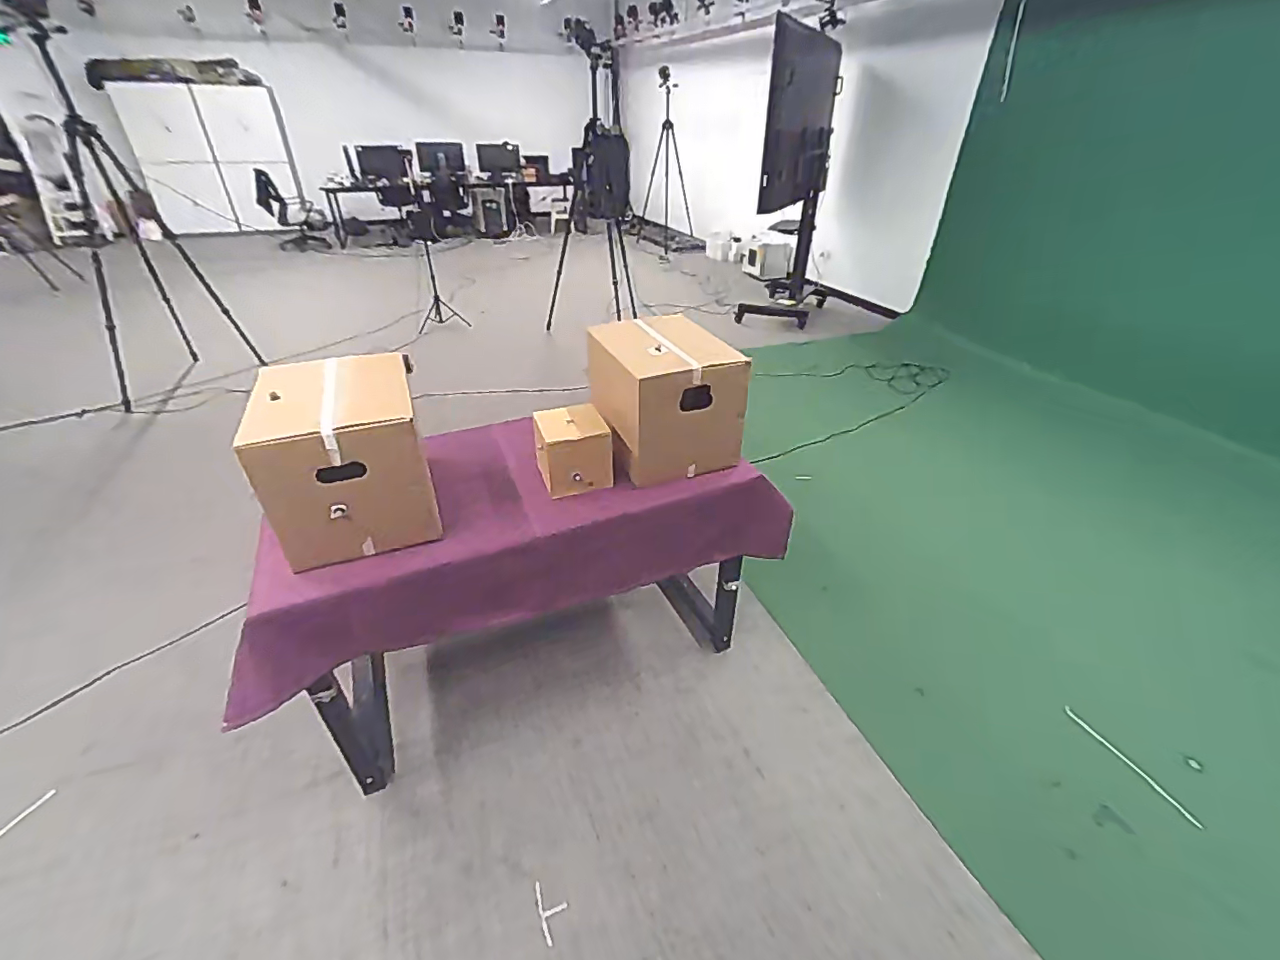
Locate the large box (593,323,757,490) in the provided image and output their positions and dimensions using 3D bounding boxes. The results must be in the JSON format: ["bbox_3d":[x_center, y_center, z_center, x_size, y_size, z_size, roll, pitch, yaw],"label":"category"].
[{"bbox_3d":[0.073,-0.225,1.536,0.320,0.320,0.408,-12,37,-19],"label":"large box"}]
